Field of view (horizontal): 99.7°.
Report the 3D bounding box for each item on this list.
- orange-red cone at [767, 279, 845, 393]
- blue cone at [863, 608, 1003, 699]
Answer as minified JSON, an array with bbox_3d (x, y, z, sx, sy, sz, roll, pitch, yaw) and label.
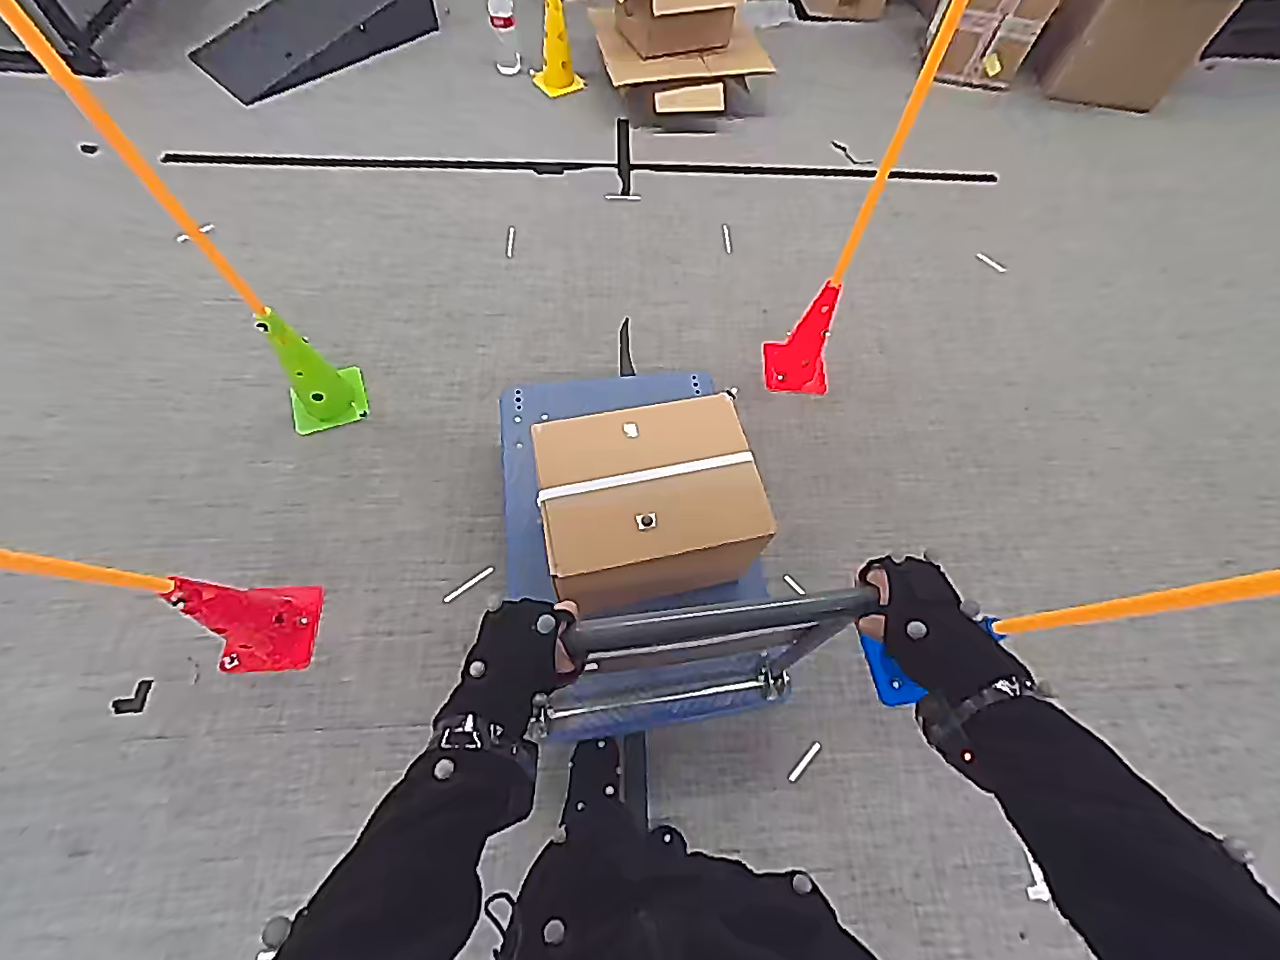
[{"bbox_3d":[0.520,-0.445,1.595,0.199,0.360,0.198,6,63,-2],"label":"orange-red cone"},{"bbox_3d":[0.679,0.363,1.206,0.193,0.380,0.192,-4,62,-6],"label":"blue cone"}]
